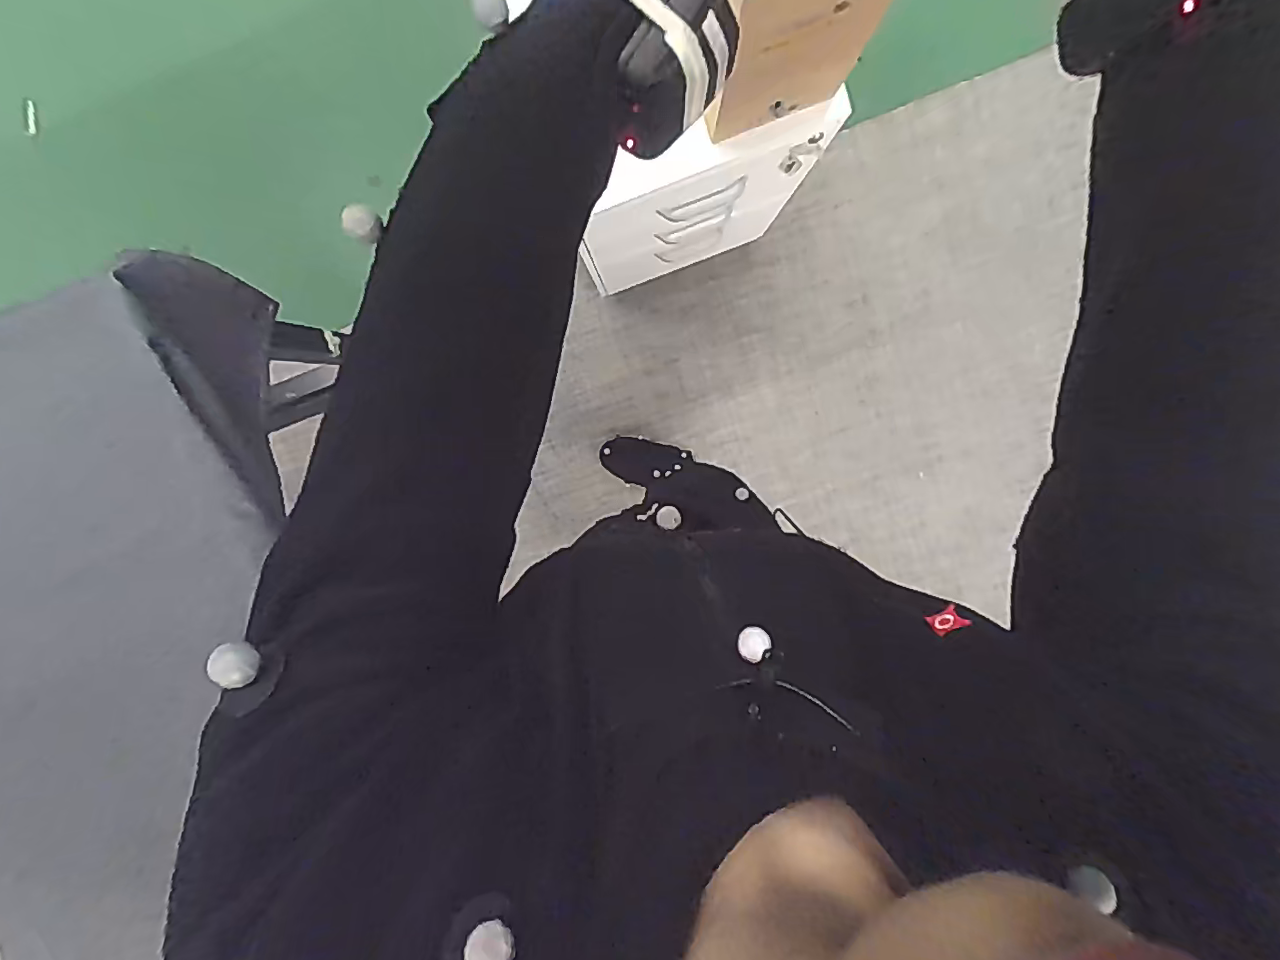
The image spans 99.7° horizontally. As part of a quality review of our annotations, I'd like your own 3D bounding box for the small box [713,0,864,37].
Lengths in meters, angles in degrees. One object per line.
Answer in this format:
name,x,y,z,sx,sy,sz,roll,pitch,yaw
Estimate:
small box,0.134,-0.507,0.432,0.168,0.176,0.179,-18,98,4
